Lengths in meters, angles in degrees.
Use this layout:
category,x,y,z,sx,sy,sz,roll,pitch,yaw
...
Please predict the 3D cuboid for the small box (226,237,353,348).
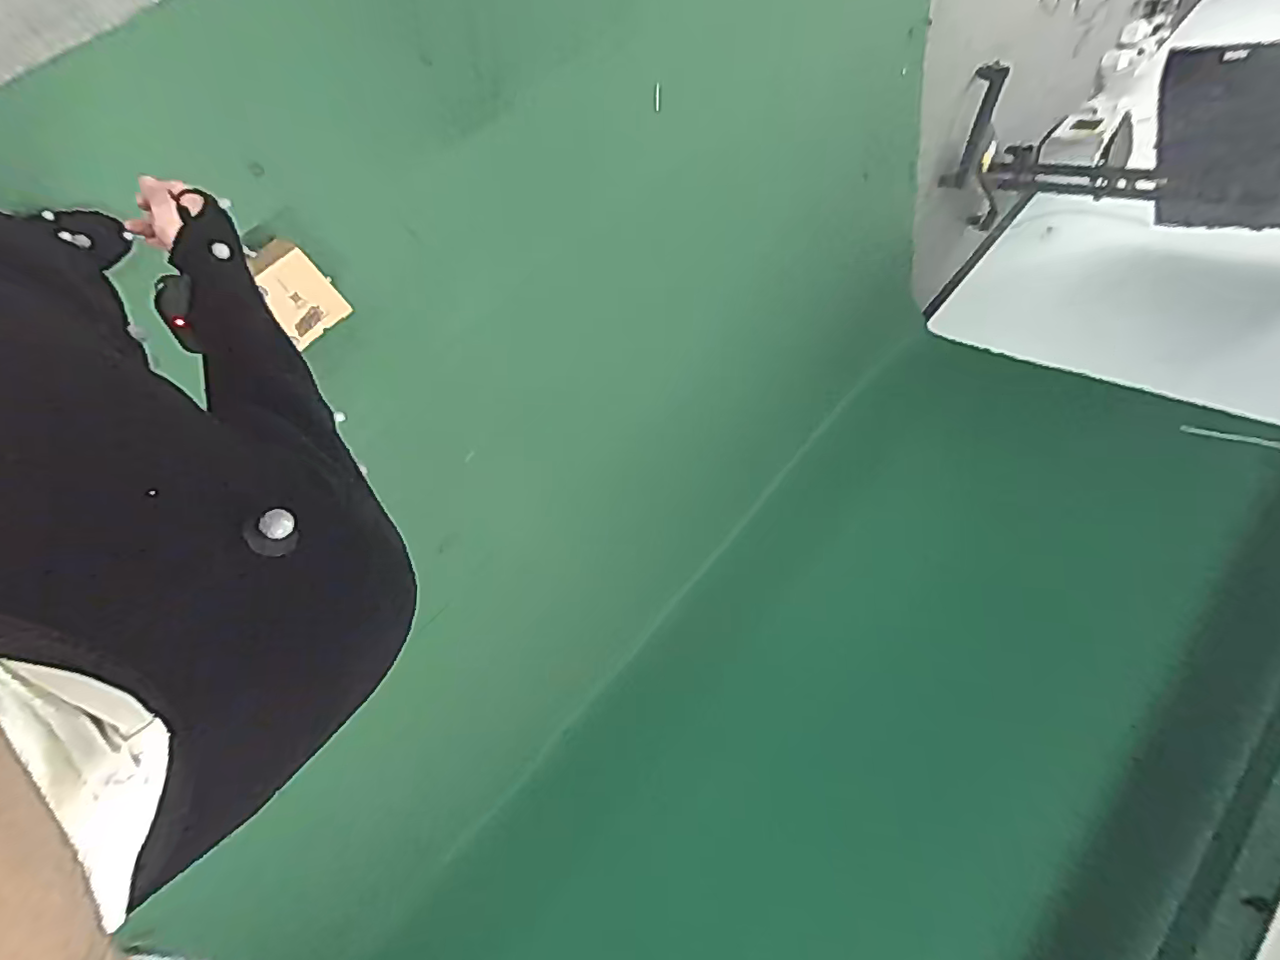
category,x,y,z,sx,sy,sz,roll,pitch,yaw
small box,-0.835,-0.452,1.289,0.168,0.176,0.179,-46,140,-15
